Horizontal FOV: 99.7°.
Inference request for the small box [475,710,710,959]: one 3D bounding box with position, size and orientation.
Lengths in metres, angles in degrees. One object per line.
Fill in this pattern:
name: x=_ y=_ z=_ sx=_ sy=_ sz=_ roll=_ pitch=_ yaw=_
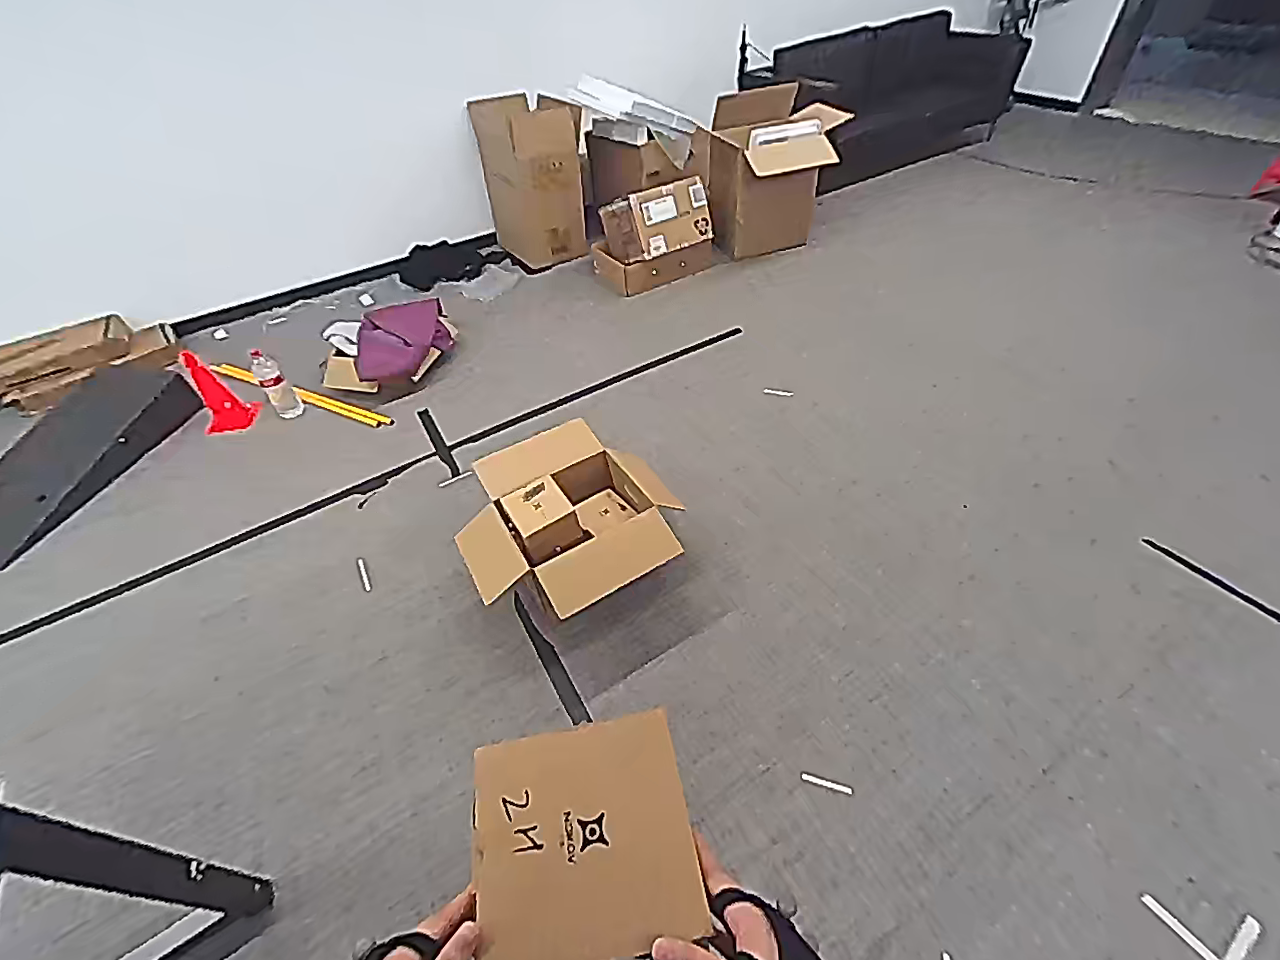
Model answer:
small box: x=-0.046 y=0.337 z=0.504 sx=0.179 sy=0.176 sz=0.168 roll=-10 pitch=50 yaw=-6
